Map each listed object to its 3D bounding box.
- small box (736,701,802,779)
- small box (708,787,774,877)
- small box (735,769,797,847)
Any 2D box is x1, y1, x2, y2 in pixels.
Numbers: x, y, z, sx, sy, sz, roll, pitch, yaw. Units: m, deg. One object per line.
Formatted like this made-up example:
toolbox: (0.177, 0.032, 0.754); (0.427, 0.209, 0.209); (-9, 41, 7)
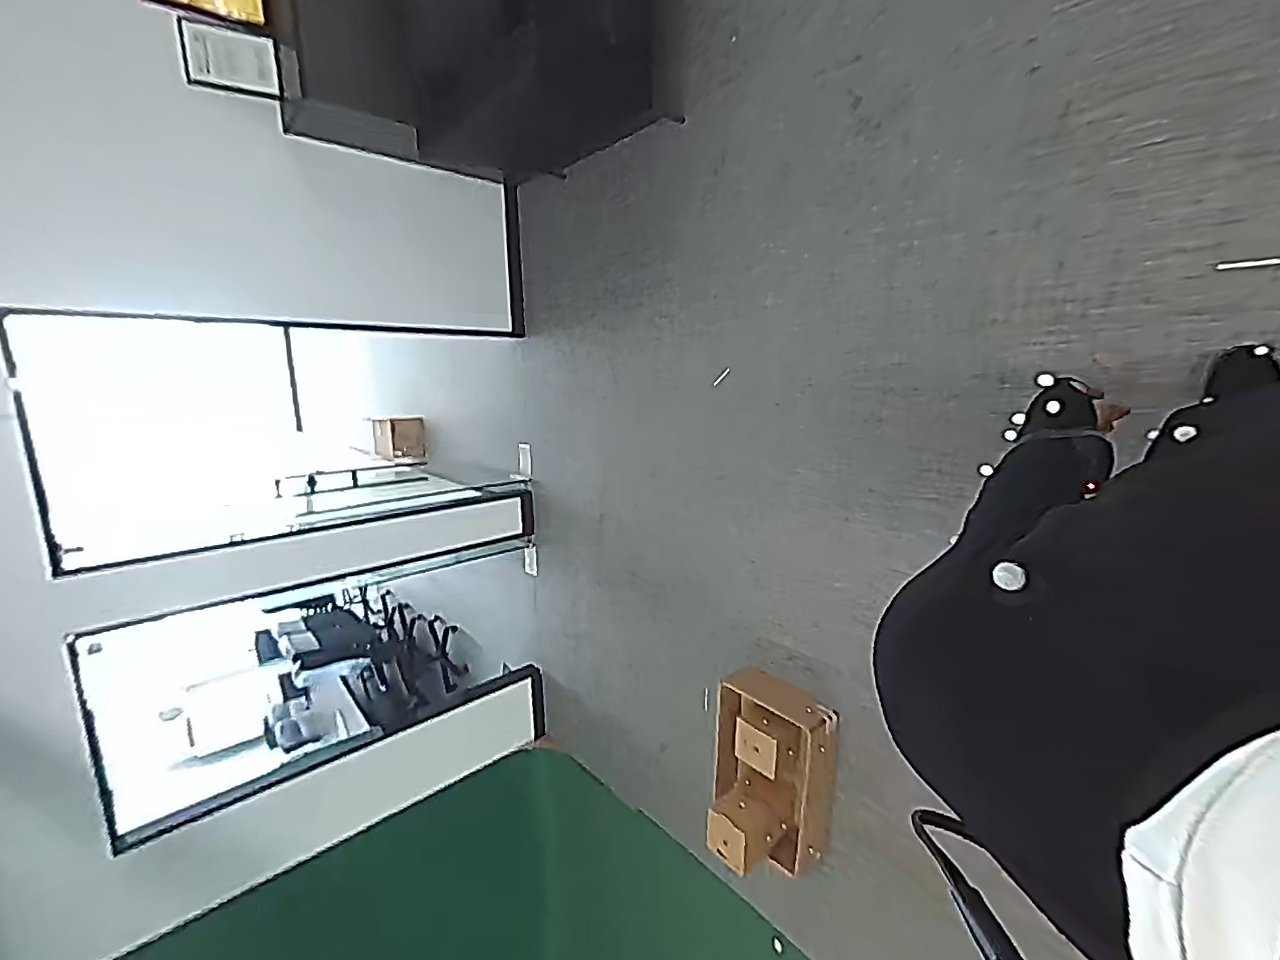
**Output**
small box: (0.477, 0.947, 1.990); (0.179, 0.176, 0.168); (16, 110, 47)
small box: (0.362, 1.245, 1.932); (0.168, 0.176, 0.179); (13, 106, 47)
small box: (0.476, 1.227, 2.050); (0.179, 0.176, 0.168); (14, 107, 47)
